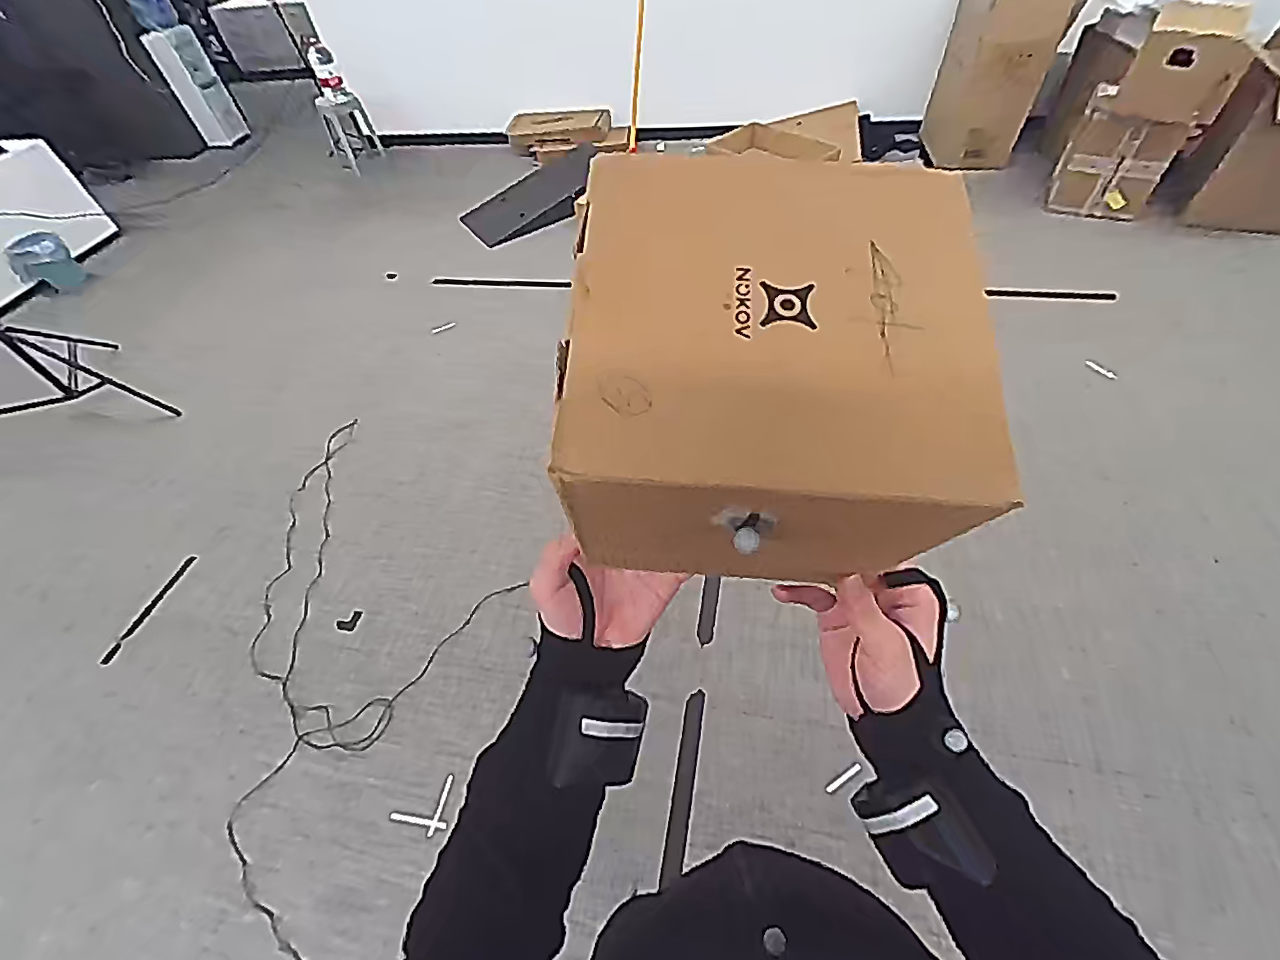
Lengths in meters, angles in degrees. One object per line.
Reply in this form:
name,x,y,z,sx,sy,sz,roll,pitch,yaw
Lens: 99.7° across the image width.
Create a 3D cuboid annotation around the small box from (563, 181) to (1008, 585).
small box,0.060,-0.038,0.312,0.179,0.176,0.168,4,69,0
